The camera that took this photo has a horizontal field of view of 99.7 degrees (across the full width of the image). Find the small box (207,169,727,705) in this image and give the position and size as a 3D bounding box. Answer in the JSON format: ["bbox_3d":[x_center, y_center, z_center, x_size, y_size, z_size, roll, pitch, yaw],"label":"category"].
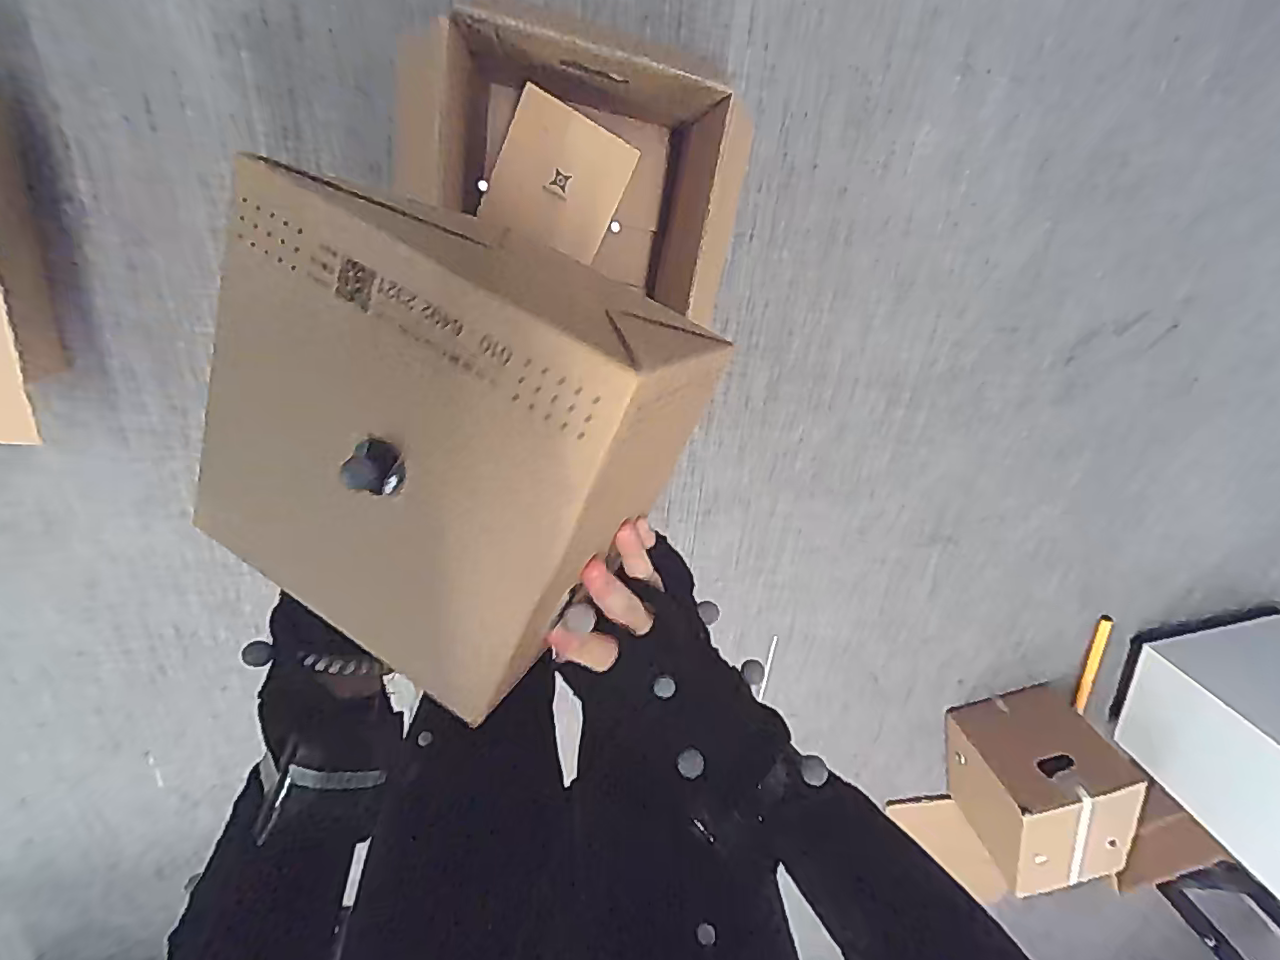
[{"bbox_3d":[-0.072,-0.033,0.284,0.168,0.179,0.176,30,112,8],"label":"small box"}]
